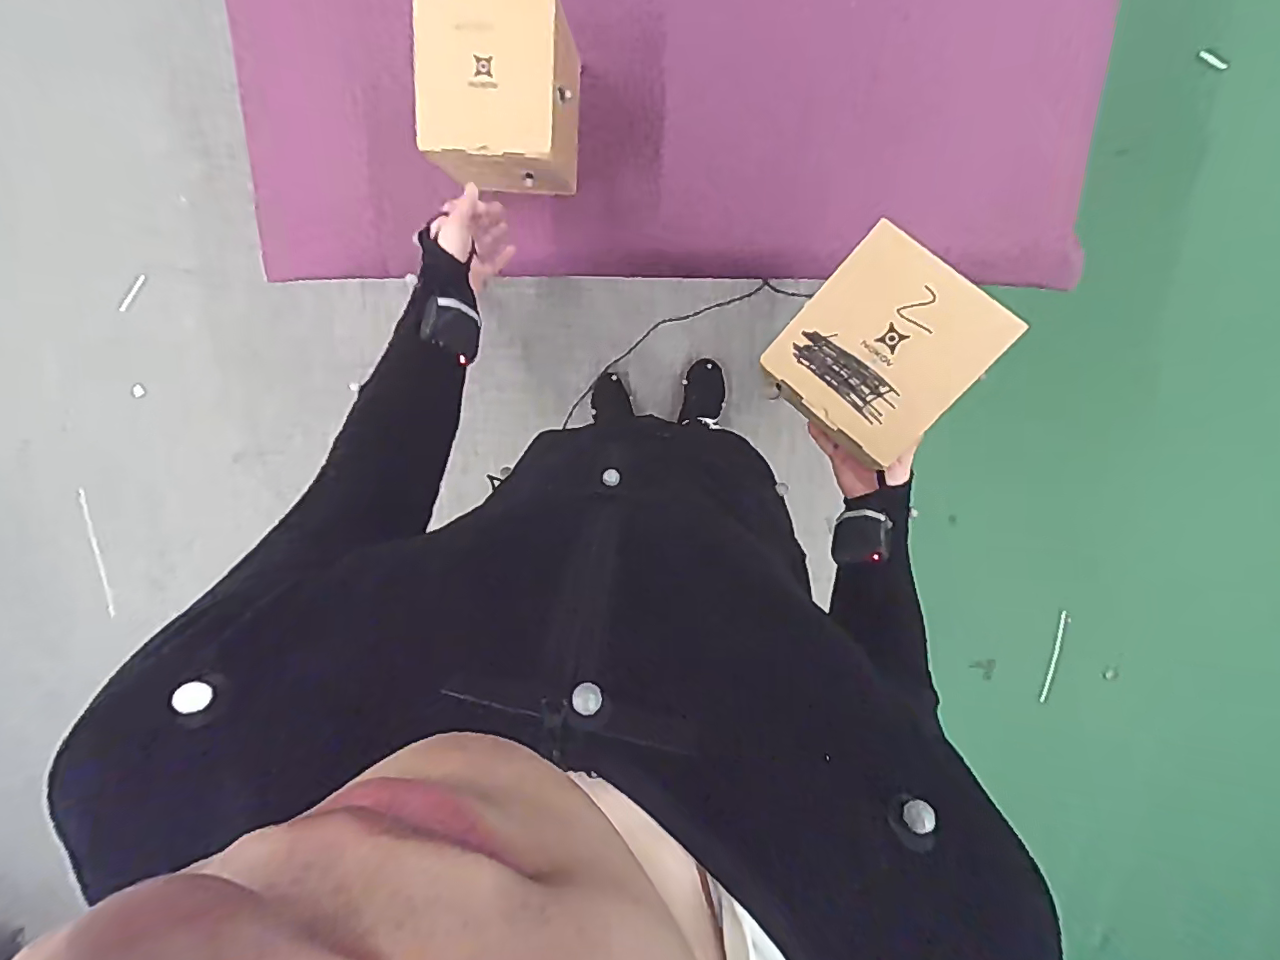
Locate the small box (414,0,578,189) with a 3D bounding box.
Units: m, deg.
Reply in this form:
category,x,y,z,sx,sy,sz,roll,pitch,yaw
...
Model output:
category,x,y,z,sx,sy,sz,roll,pitch,yaw
small box,-0.177,-0.499,0.707,0.168,0.176,0.179,5,104,2
